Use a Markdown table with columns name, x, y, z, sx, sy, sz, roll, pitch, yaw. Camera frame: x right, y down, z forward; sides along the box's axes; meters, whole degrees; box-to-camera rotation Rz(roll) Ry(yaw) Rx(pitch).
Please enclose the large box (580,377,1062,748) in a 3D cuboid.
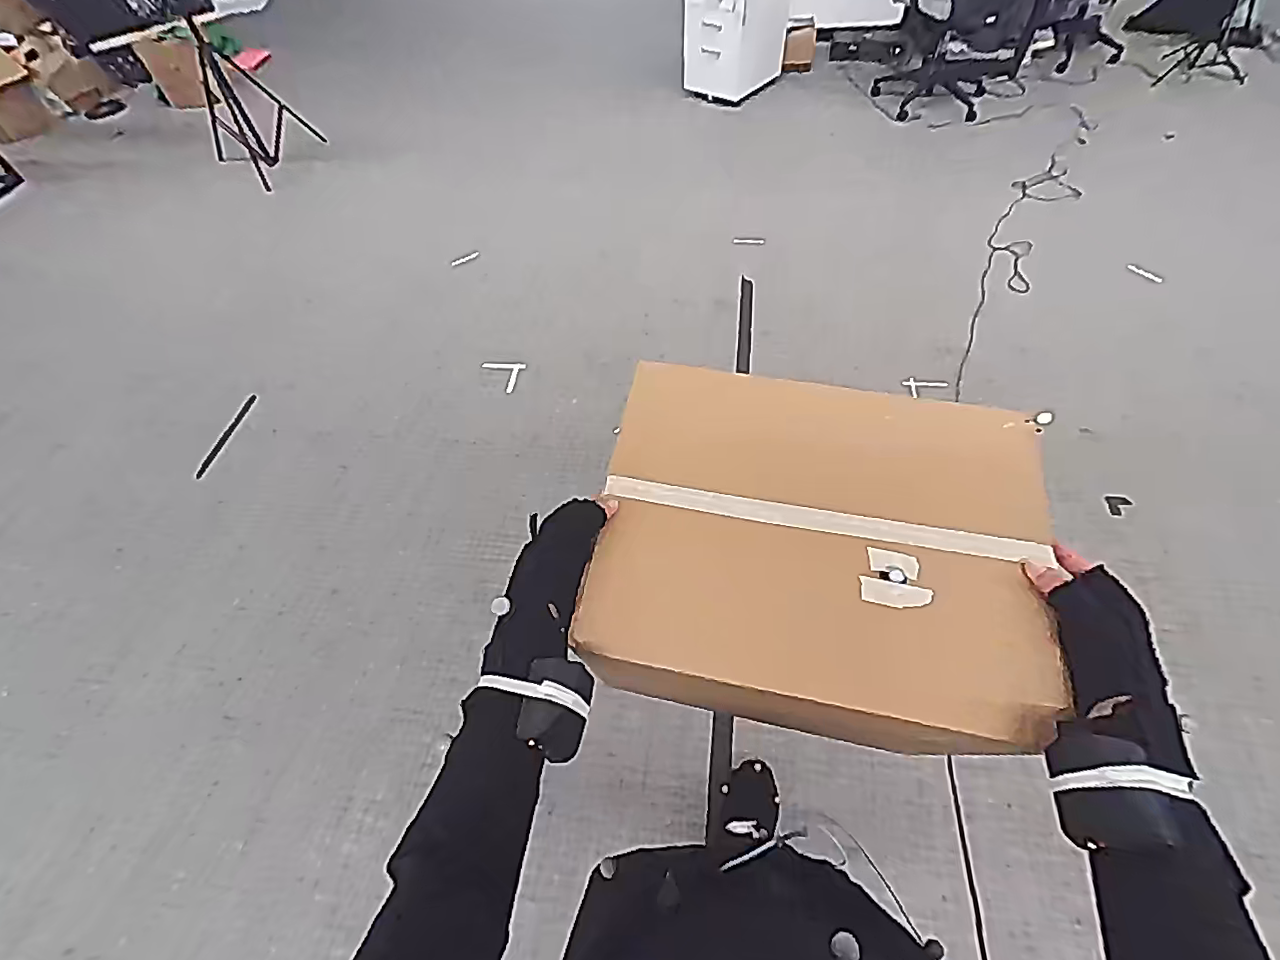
| name | x | y | z | sx | sy | sz | roll | pitch | yaw |
| --- | --- | --- | --- | --- | --- | --- | --- | --- | --- |
| large box | 0.171 | 0.112 | 0.644 | 0.408 | 0.320 | 0.320 | 9 | 65 | 7 |
